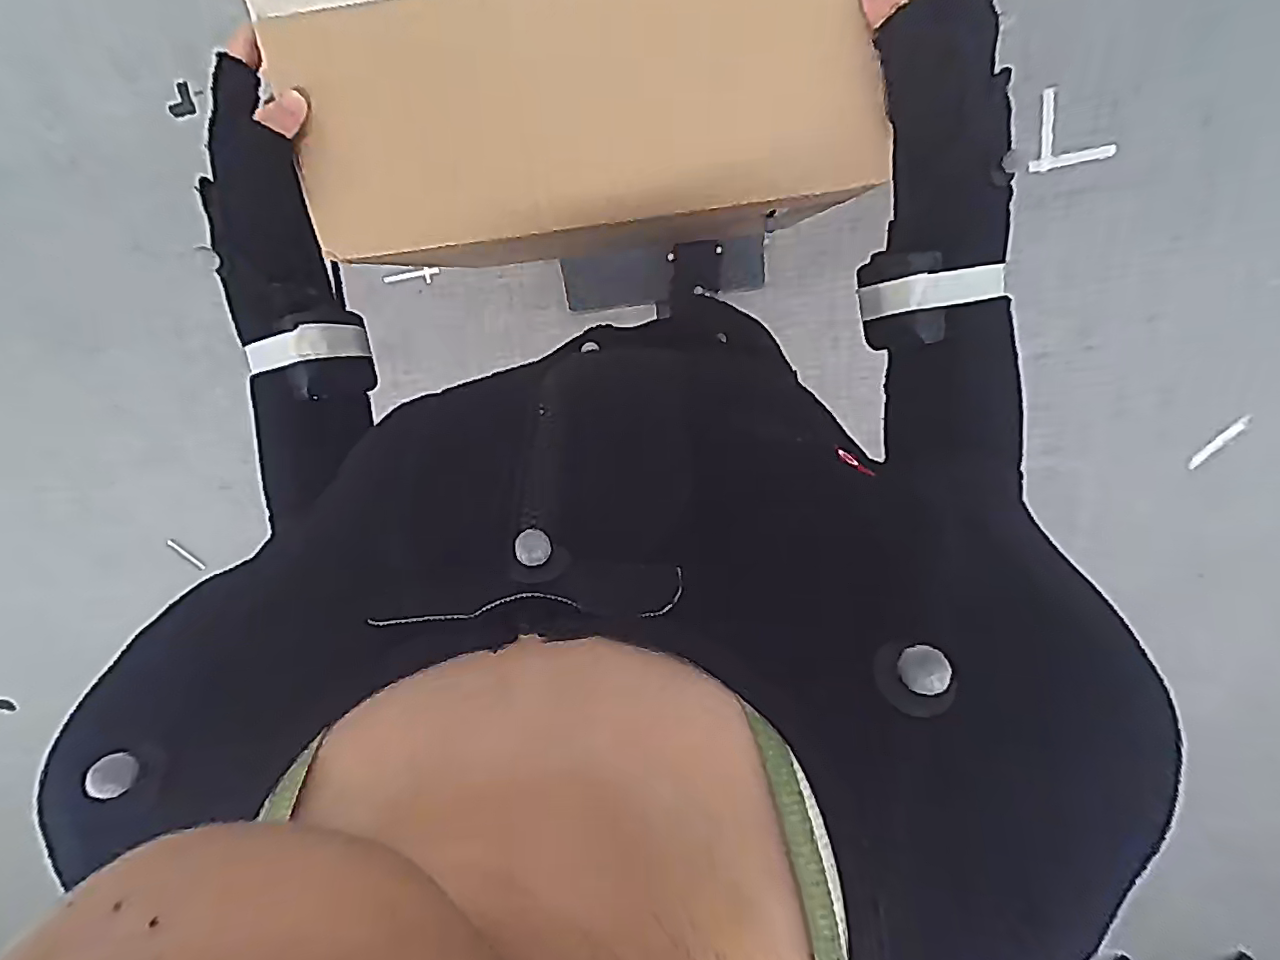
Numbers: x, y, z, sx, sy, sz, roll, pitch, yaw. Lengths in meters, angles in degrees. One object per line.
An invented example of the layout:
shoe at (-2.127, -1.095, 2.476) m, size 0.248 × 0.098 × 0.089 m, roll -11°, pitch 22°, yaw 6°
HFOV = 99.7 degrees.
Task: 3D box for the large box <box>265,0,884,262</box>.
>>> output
large box at (-0.042, -0.385, 0.477) m, size 0.408 × 0.320 × 0.320 m, roll -6°, pitch 109°, yaw 4°

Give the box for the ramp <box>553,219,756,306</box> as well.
ramp at (-0.023, -0.903, 1.125) m, size 0.509 × 0.206 × 0.991 m, roll -8°, pitch 108°, yaw 6°
